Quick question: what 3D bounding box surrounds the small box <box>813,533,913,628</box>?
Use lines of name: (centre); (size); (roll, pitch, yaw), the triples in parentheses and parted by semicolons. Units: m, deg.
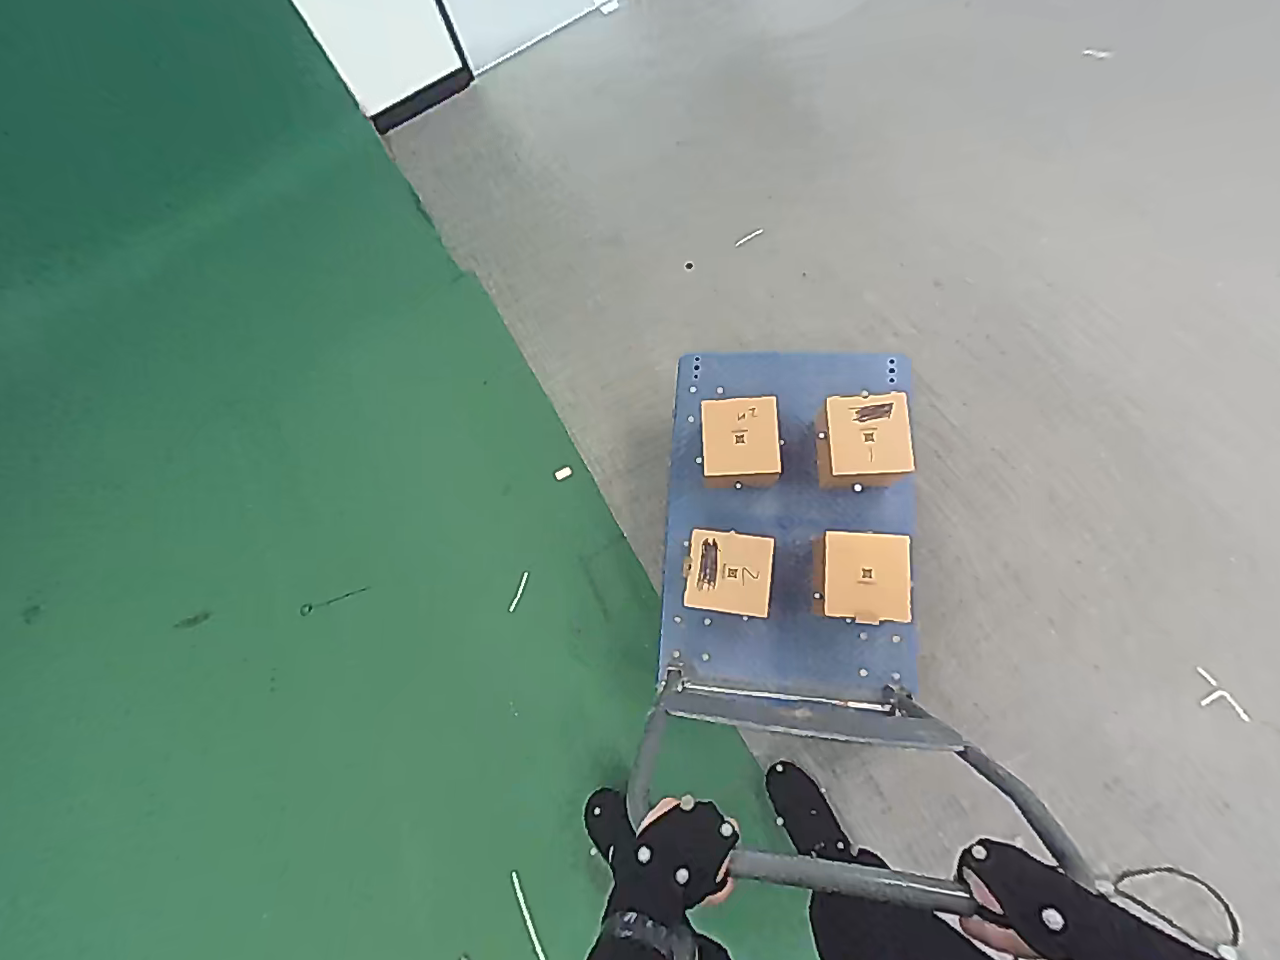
small box: (0.473, 0.215, 1.164); (0.168, 0.176, 0.179); (4, 80, 9)

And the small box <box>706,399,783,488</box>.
small box: (0.240, -0.078, 1.258); (0.168, 0.176, 0.179); (-1, 78, 8)

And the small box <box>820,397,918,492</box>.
small box: (0.506, -0.074, 1.218); (0.168, 0.176, 0.179); (-2, 79, 9)
